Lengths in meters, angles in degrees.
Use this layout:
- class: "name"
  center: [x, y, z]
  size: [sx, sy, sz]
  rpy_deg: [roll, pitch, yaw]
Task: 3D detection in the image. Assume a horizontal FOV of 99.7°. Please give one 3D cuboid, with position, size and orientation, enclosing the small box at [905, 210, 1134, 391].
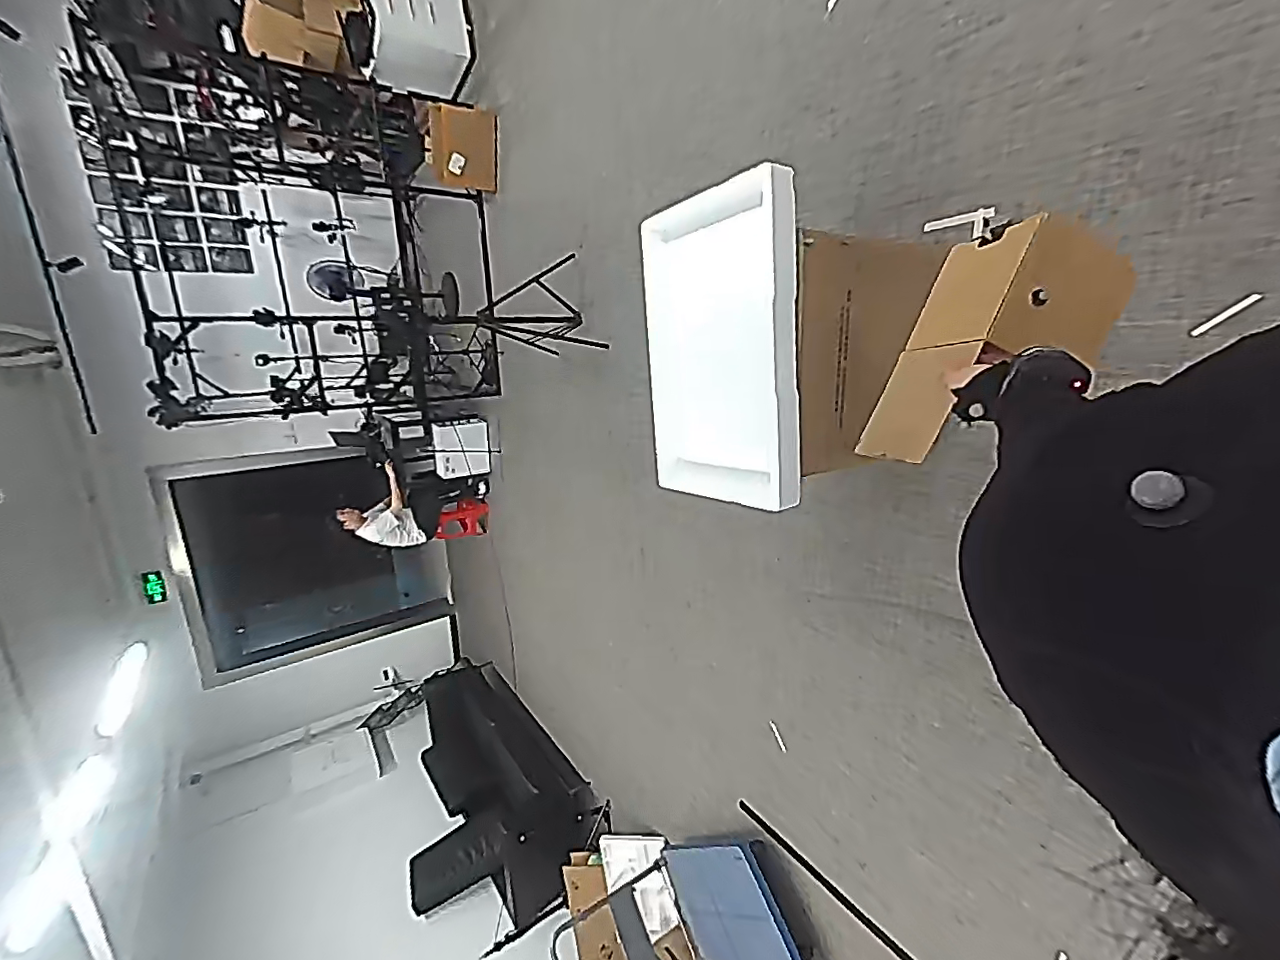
- class: "small box"
  center: [0.522, -0.233, 0.755]
  size: [0.168, 0.176, 0.179]
  rpy_deg: [-135, 69, -78]
